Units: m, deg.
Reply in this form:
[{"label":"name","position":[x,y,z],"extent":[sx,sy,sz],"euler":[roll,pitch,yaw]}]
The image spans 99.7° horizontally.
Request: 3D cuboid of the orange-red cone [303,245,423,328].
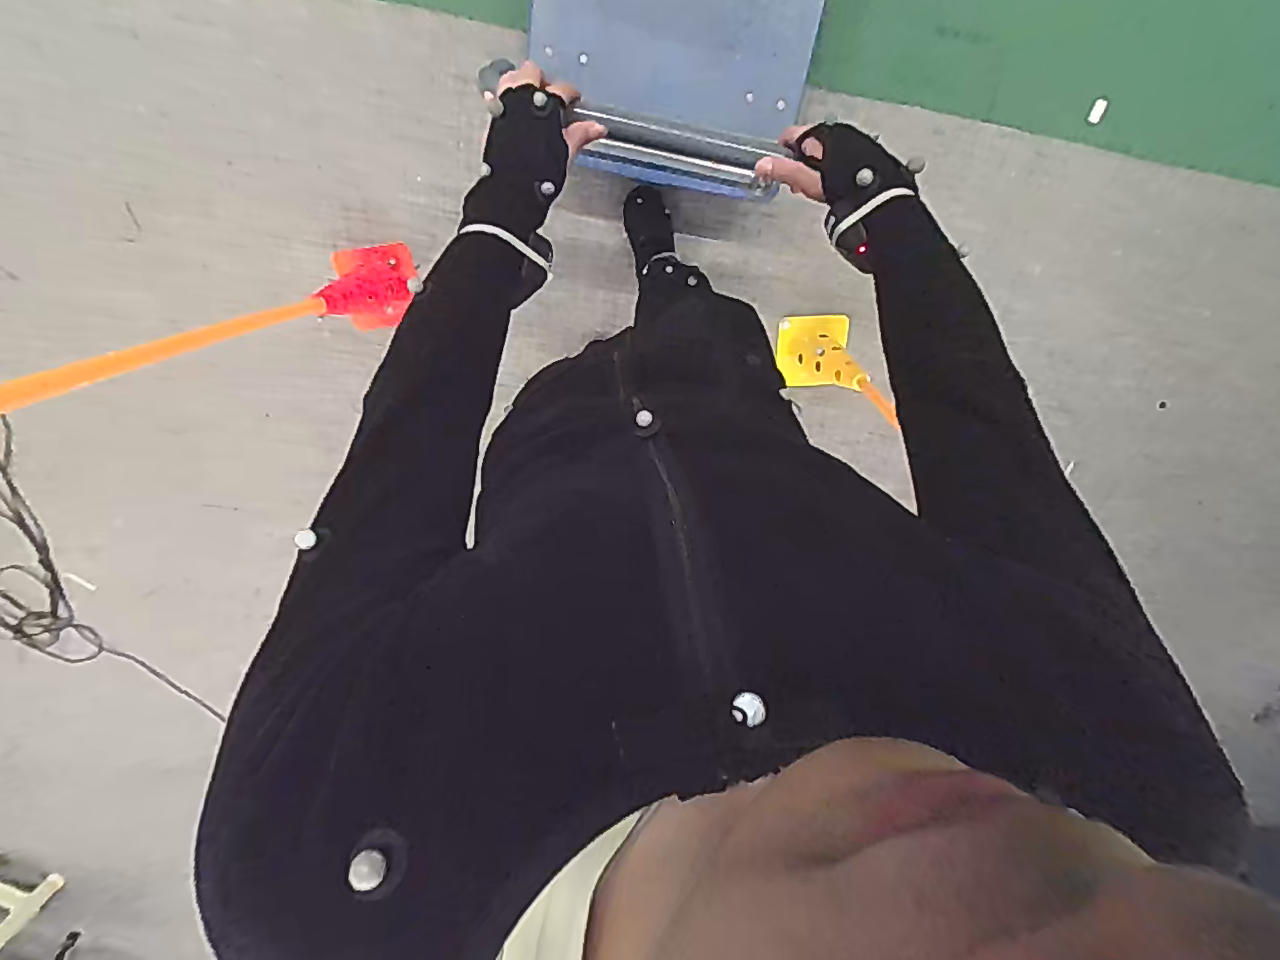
[{"label":"orange-red cone","position":[-0.677,-0.433,1.261],"extent":[0.199,0.360,0.198],"euler":[-6,115,1]}]
